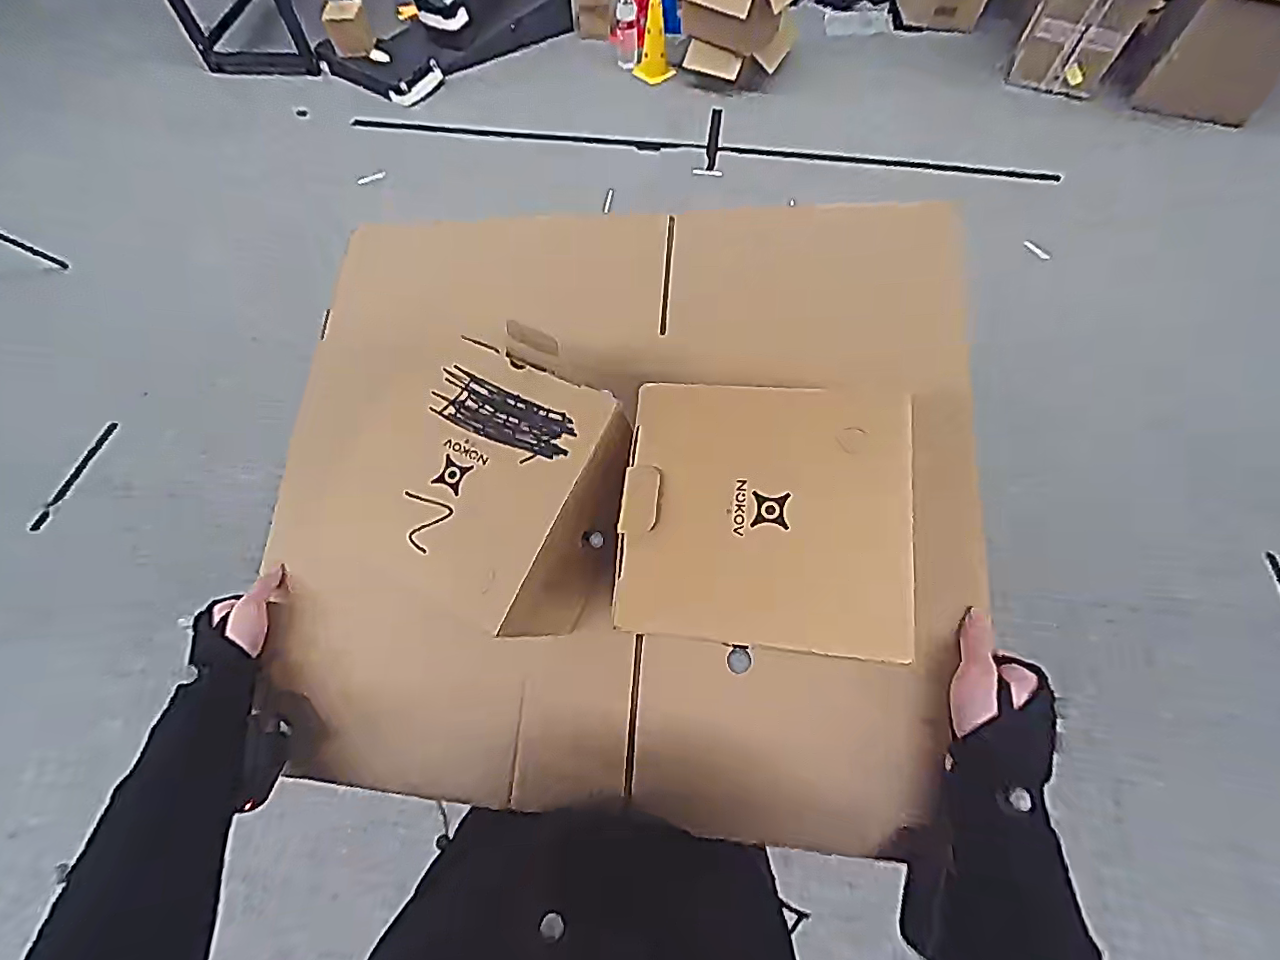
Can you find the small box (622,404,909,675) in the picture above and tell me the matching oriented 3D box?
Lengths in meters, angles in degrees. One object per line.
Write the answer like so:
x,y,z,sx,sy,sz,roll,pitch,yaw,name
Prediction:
0.094,0.051,0.429,0.179,0.176,0.168,4,75,10,small box
